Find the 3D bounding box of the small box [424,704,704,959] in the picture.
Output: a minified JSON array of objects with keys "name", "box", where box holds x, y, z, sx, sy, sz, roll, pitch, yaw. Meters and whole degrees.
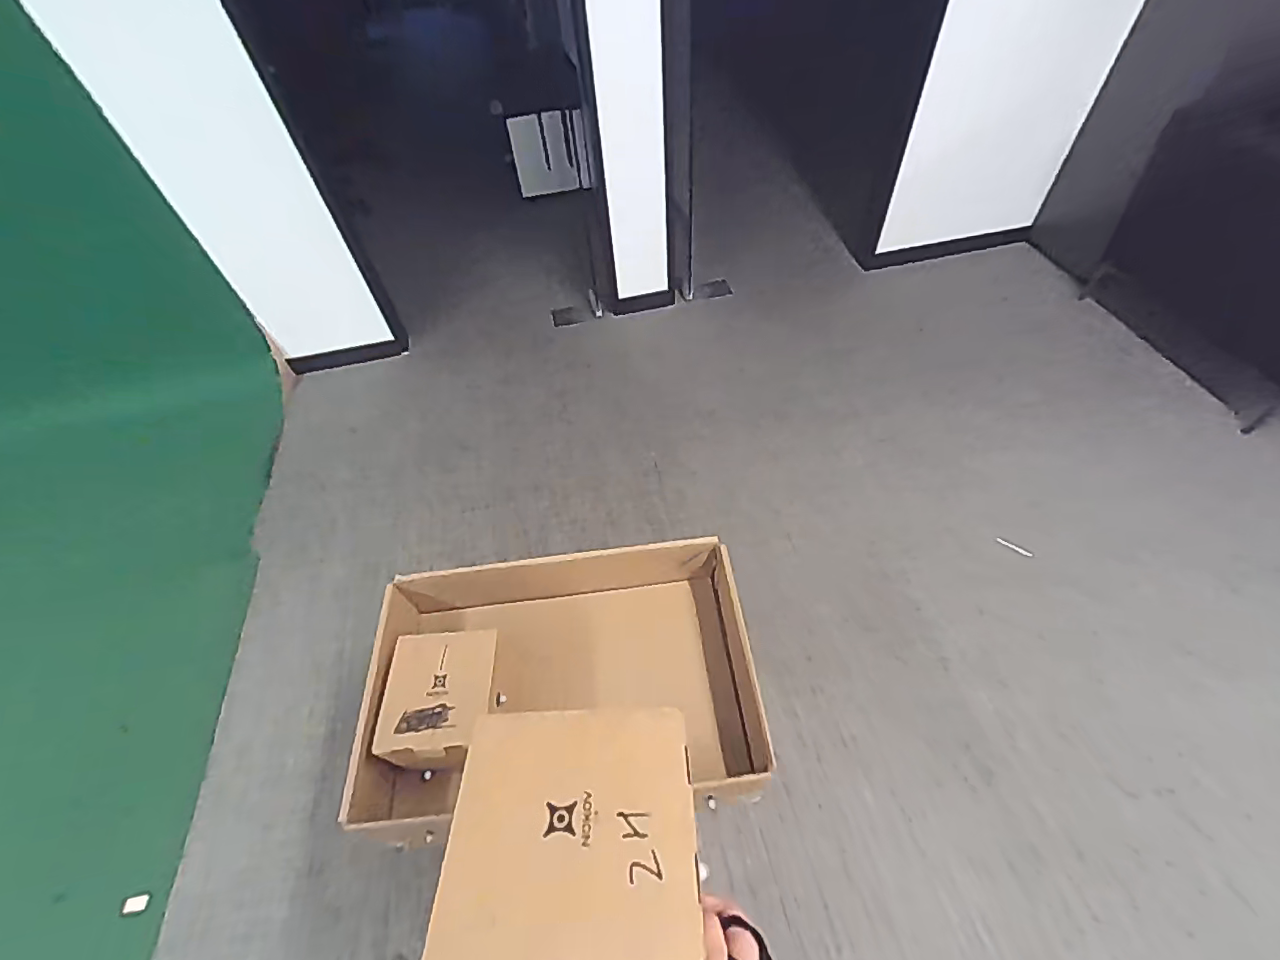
[{"name":"small box","box":[-0.046,0.304,0.440,0.179,0.176,0.168,-1,39,-1]}]
